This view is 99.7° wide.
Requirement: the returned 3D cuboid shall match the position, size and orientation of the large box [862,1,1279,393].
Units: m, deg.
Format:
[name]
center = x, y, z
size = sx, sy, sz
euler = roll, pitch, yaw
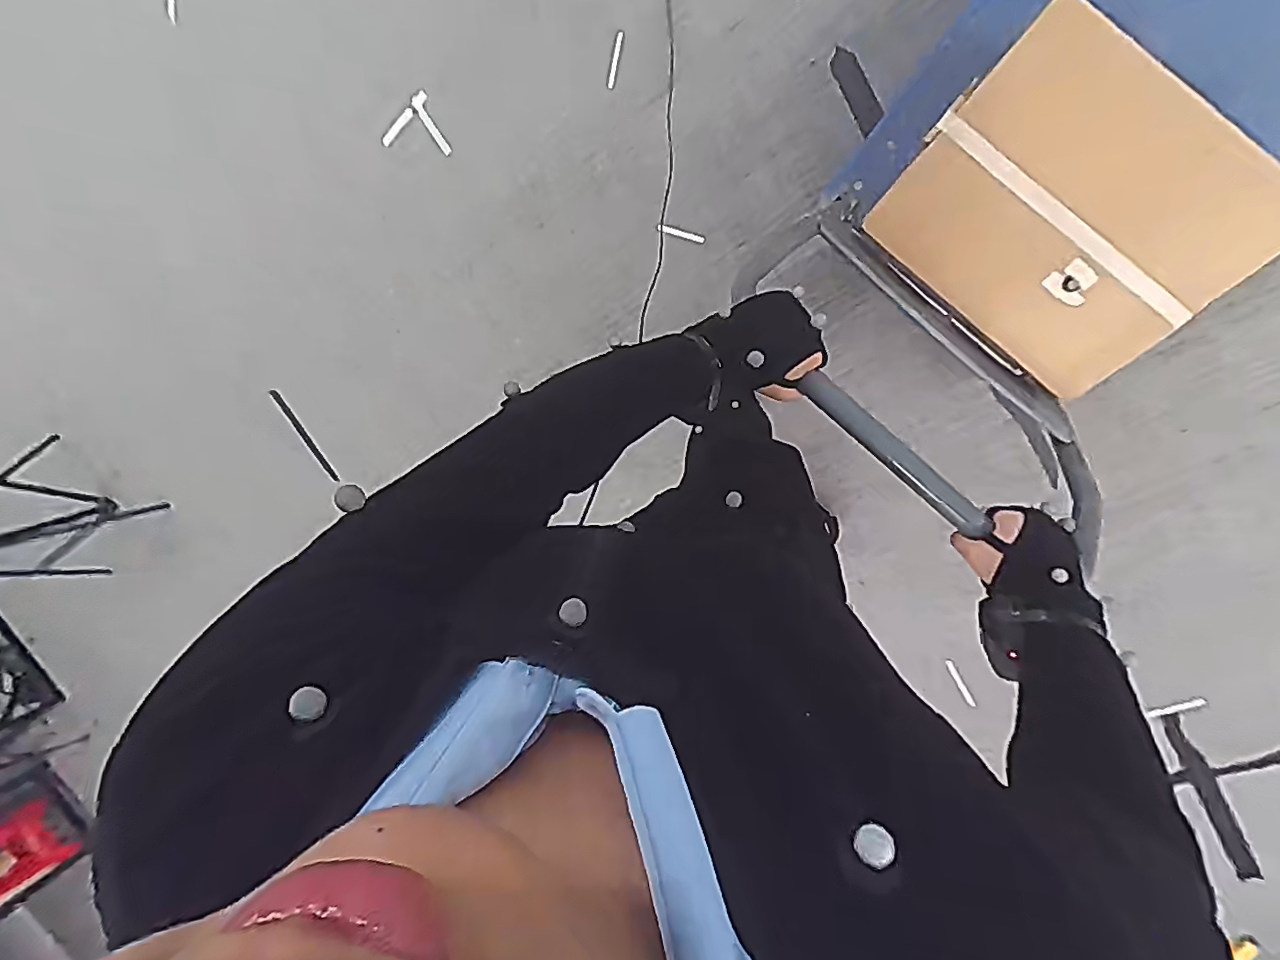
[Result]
[large box]
center = 0.615, -0.414, 0.842
size = 0.408, 0.320, 0.320
euler = 41, 127, 0
